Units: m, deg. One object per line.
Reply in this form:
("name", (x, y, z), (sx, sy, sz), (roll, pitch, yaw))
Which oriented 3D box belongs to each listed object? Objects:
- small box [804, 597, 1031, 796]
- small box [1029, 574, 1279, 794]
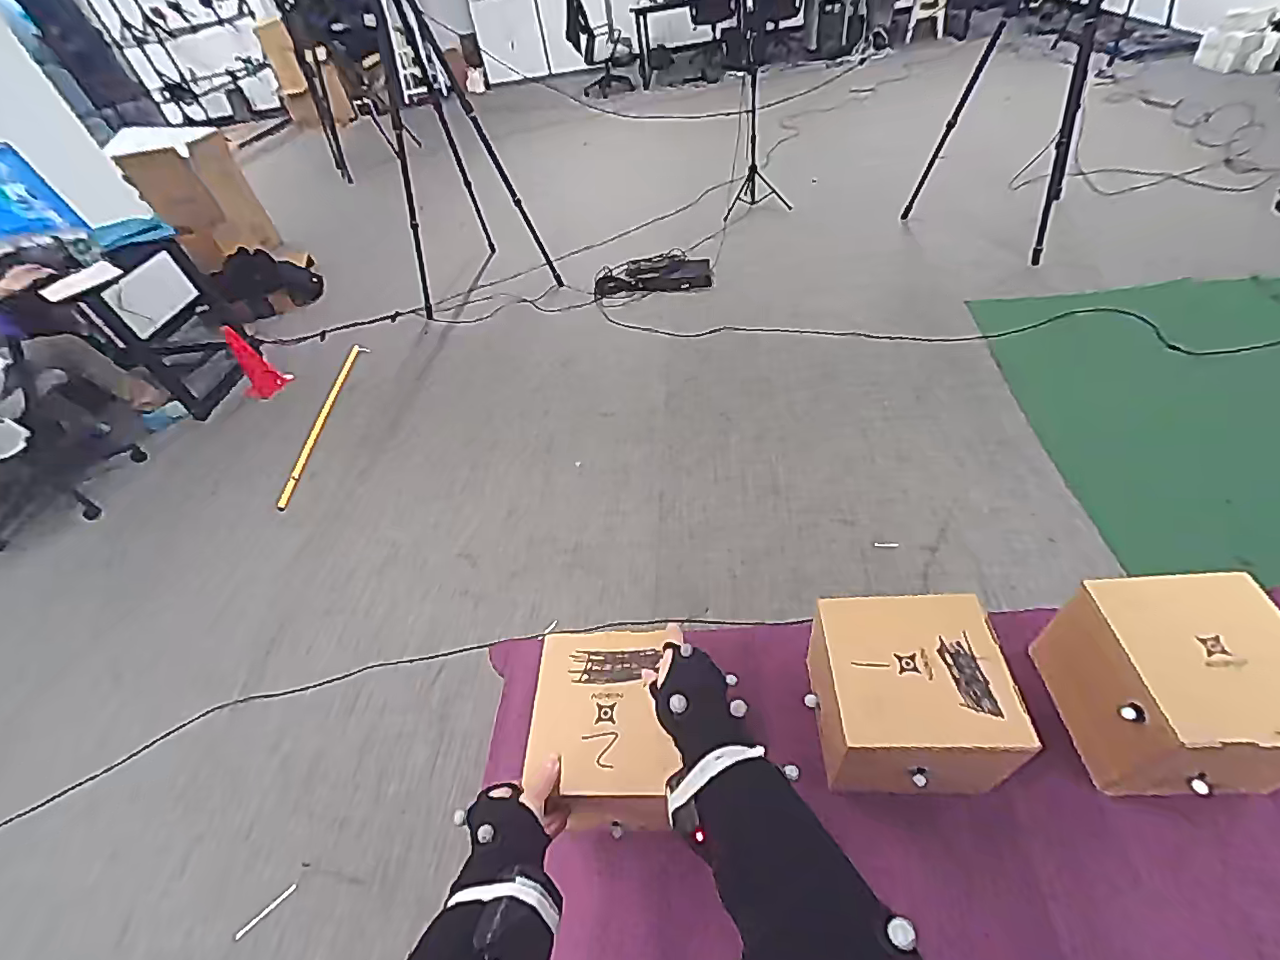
("small box", (0.294, 0.251, 0.622), (0.179, 0.176, 0.168), (-5, 46, 9))
("small box", (0.574, 0.225, 0.591), (0.168, 0.176, 0.179), (-5, 47, 7))
